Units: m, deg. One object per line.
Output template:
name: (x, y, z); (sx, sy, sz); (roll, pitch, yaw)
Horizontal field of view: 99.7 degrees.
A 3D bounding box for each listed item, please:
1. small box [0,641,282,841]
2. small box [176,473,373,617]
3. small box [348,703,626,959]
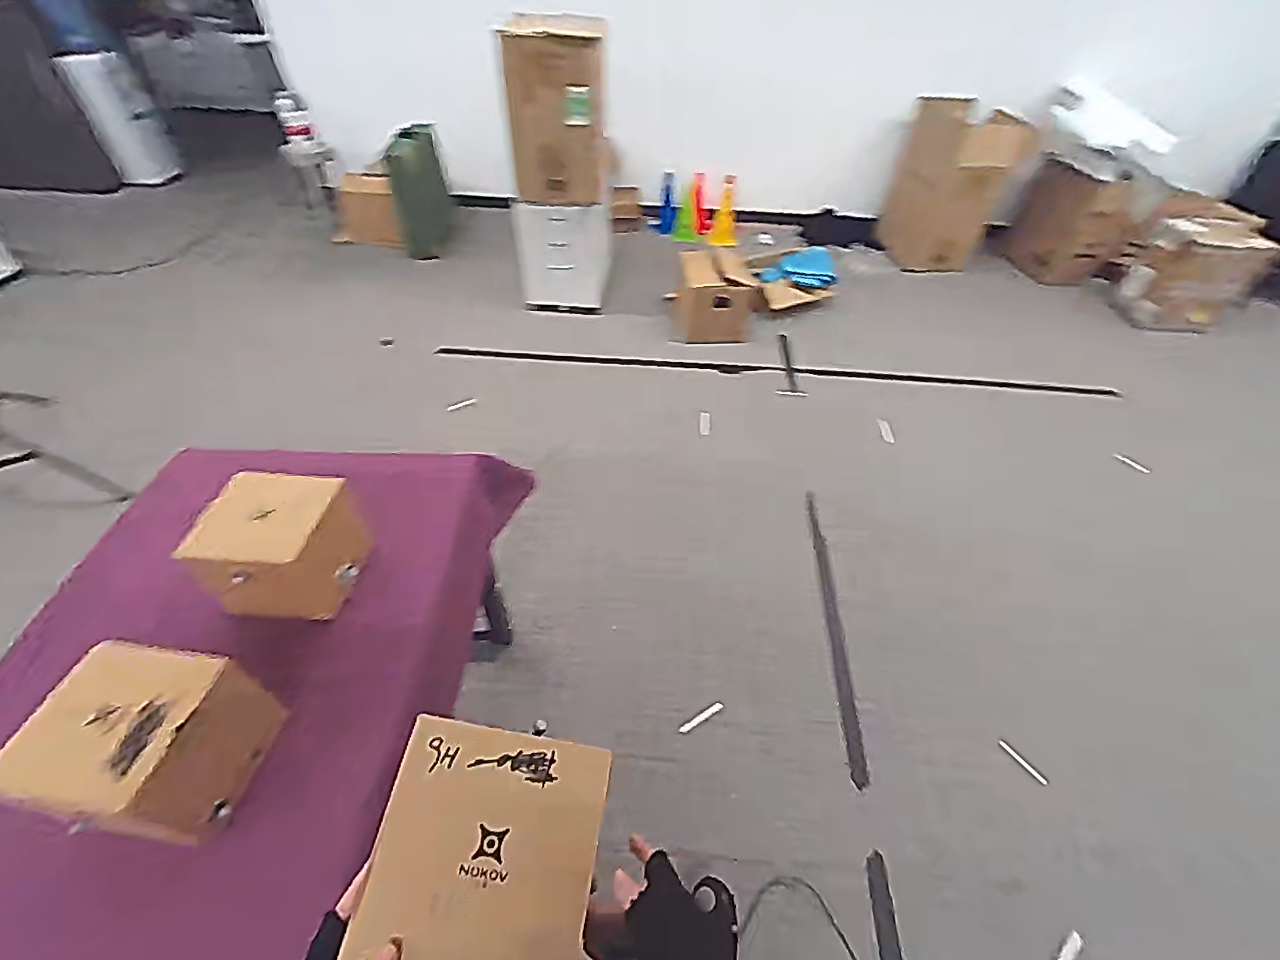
small box: (-0.591, 0.322, 0.661); (0.179, 0.176, 0.168); (6, 45, 5)
small box: (-0.570, 0.108, 0.875); (0.179, 0.176, 0.168); (4, 47, 0)
small box: (-0.117, 0.311, 0.478); (0.168, 0.176, 0.179); (14, 63, -3)
